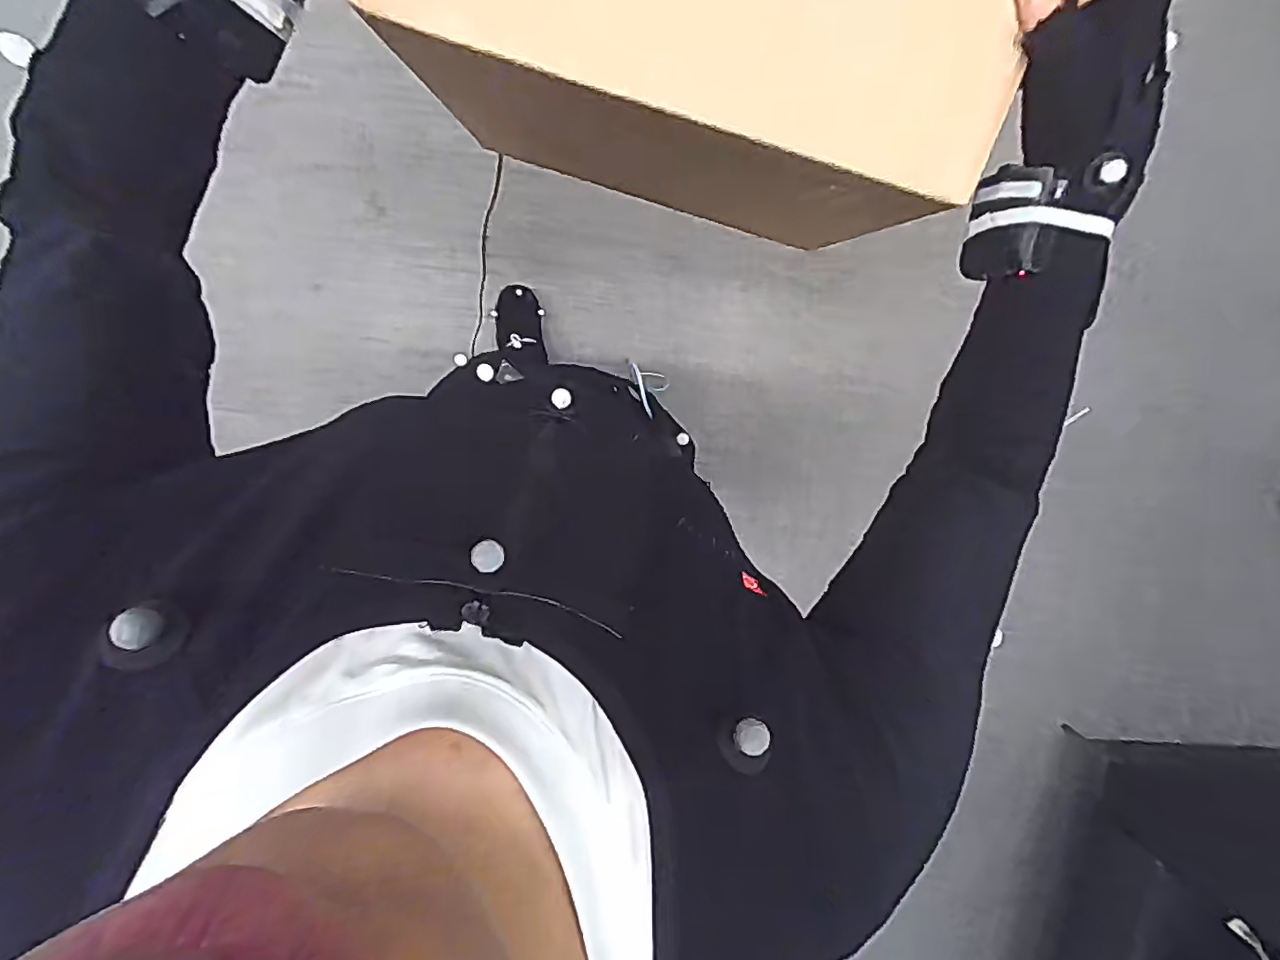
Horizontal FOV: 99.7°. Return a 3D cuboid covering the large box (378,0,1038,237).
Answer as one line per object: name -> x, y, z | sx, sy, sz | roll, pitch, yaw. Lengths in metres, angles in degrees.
large box -> 0.059, -0.428, 0.441 | 0.408, 0.320, 0.320 | 13, 107, -7
